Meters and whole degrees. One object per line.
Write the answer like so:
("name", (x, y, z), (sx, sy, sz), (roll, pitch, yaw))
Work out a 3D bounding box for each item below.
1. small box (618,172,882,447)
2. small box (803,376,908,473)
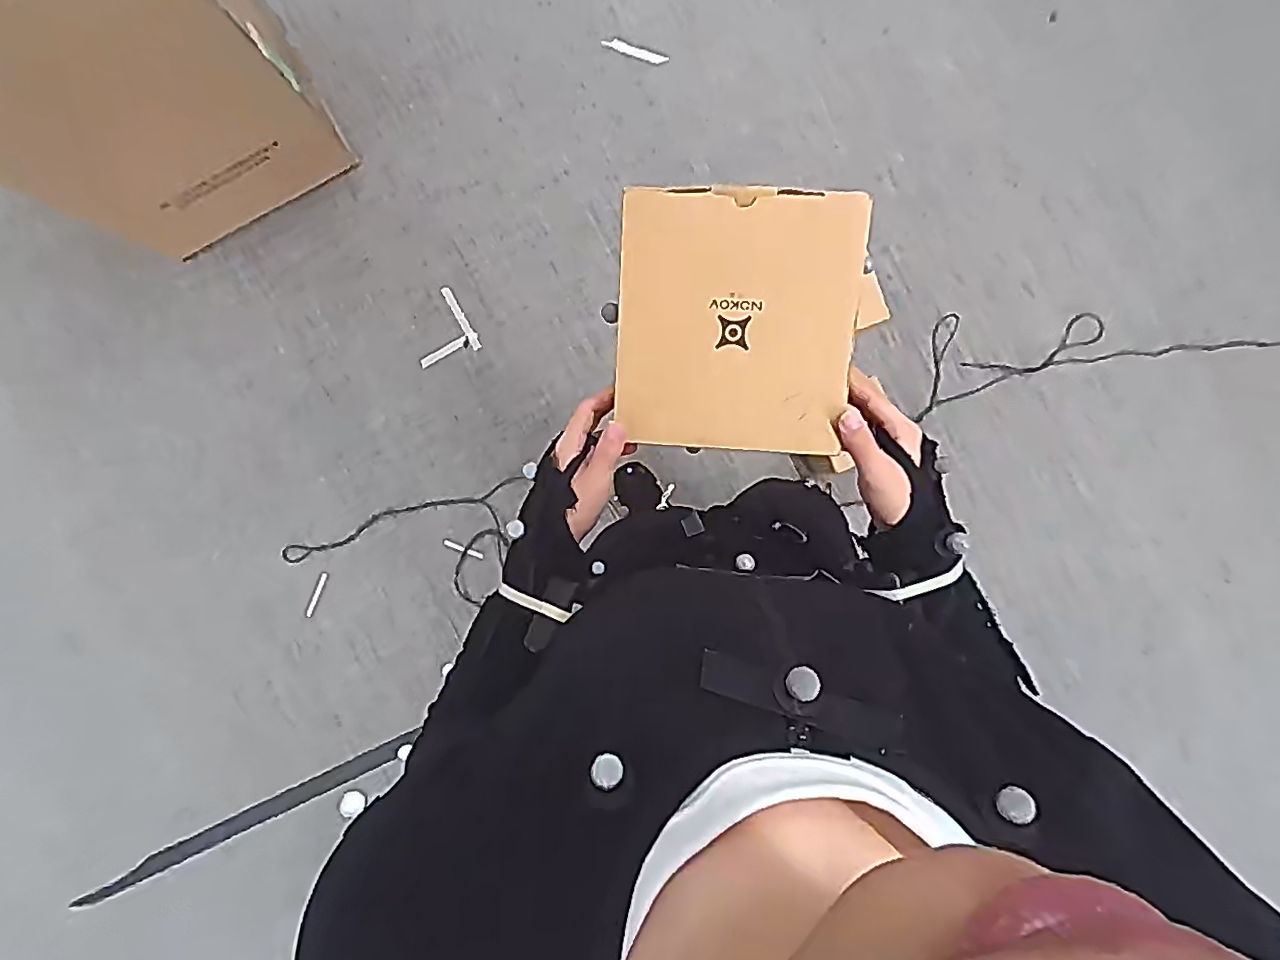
("small box", (0.078, -0.128, 0.443), (0.168, 0.176, 0.179), (3, 101, 5))
("small box", (0.486, -0.125, 1.278), (0.179, 0.176, 0.168), (-25, 89, 1))
